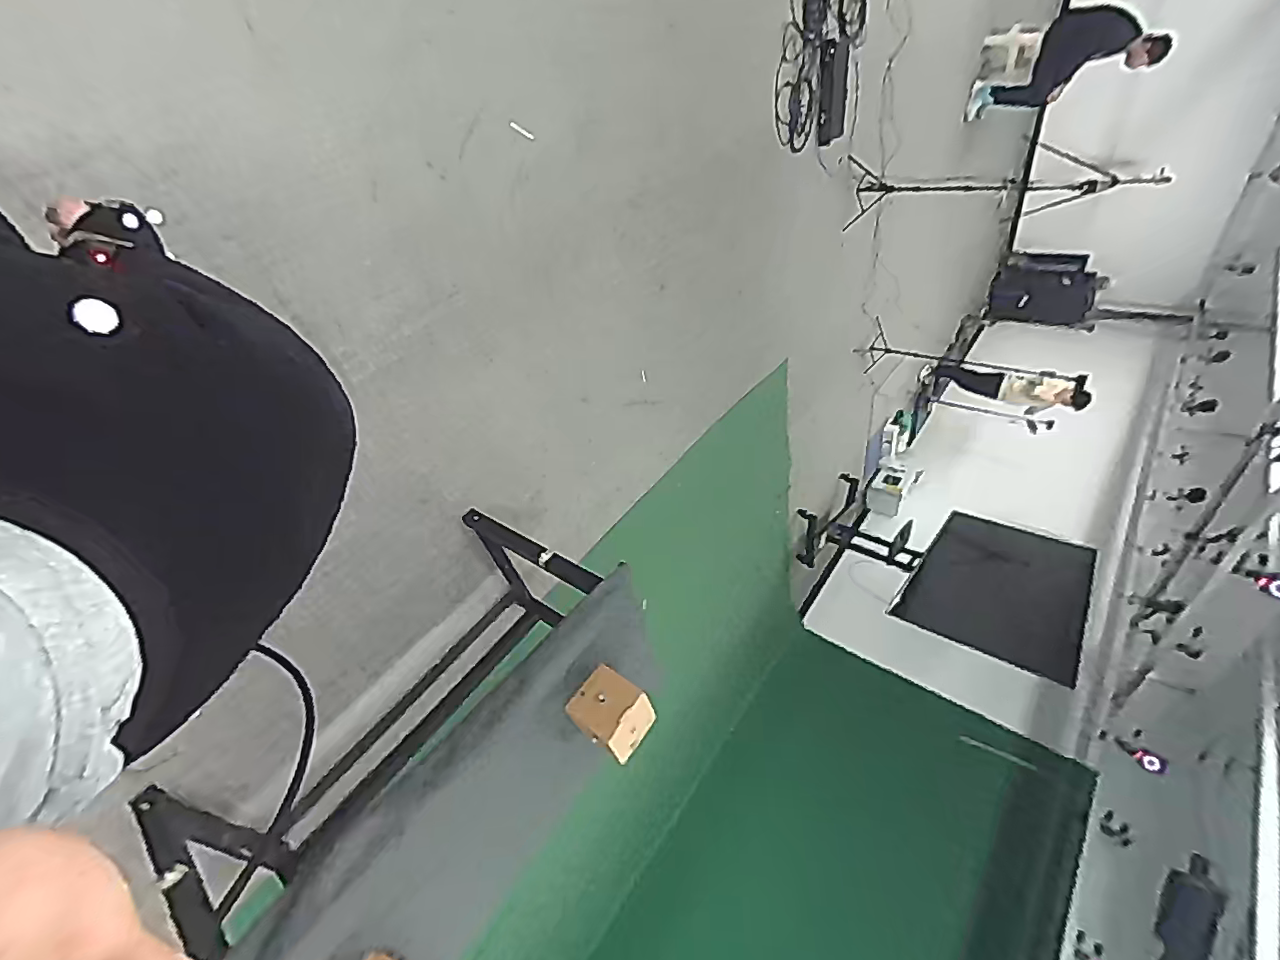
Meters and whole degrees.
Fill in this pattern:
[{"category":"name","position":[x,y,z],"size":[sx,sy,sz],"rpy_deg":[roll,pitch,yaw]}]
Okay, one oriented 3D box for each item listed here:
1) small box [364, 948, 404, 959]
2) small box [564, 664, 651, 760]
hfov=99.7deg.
[{"category":"small box","position":[-0.580,1.182,1.185],"size":[0.168,0.176,0.179],"rpy_deg":[-43,139,-31]},{"category":"small box","position":[-0.096,0.667,1.575],"size":[0.168,0.176,0.179],"rpy_deg":[-46,139,-28]}]
